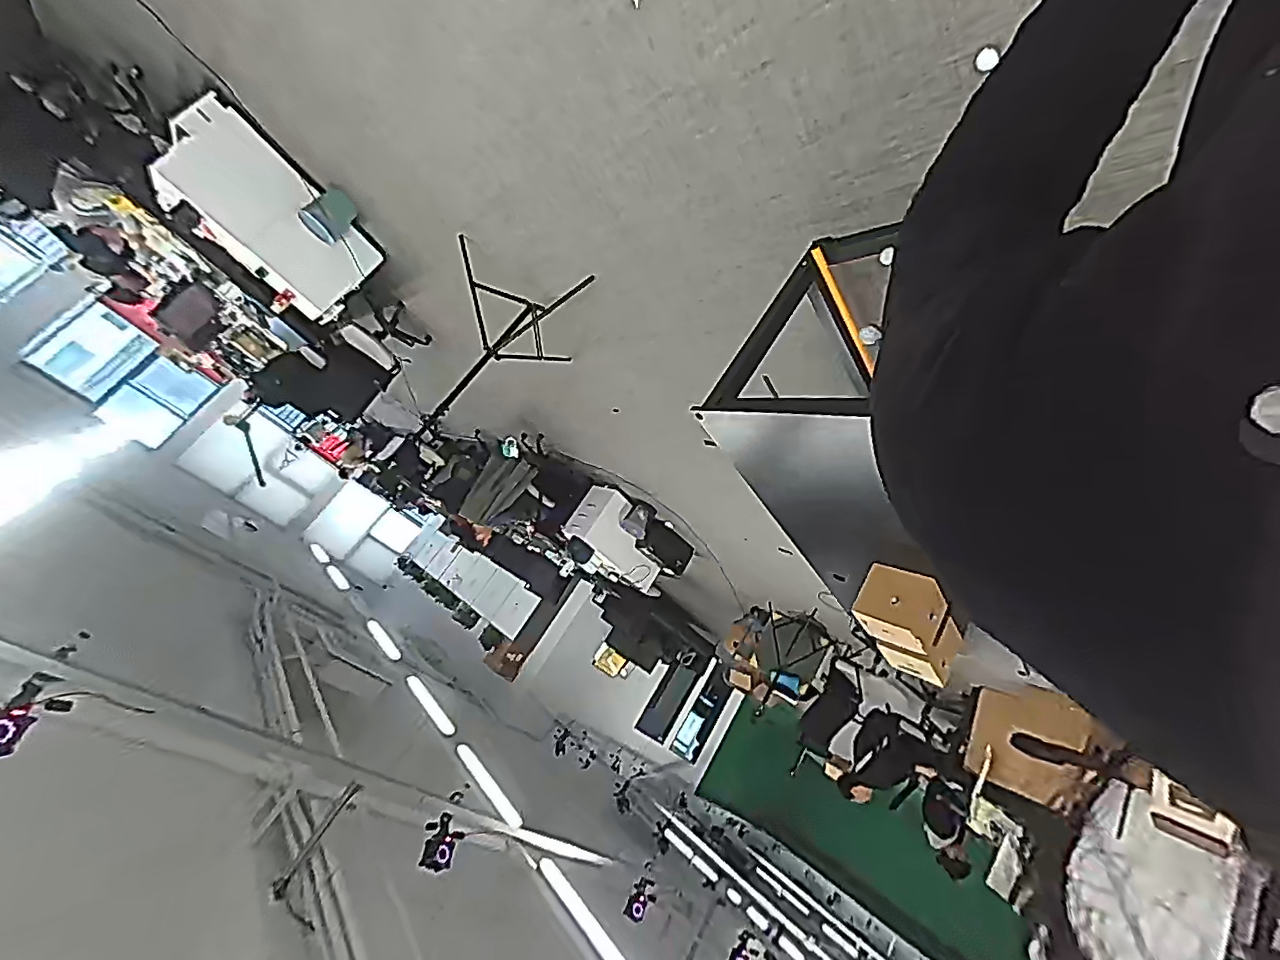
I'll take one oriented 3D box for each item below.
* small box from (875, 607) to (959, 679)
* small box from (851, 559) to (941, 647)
[{"bbox_3d":[0.878,0.490,1.706,0.168,0.176,0.179,12,151,50],"label":"small box"},{"bbox_3d":[0.751,0.351,1.570,0.179,0.176,0.168,12,152,49],"label":"small box"}]
